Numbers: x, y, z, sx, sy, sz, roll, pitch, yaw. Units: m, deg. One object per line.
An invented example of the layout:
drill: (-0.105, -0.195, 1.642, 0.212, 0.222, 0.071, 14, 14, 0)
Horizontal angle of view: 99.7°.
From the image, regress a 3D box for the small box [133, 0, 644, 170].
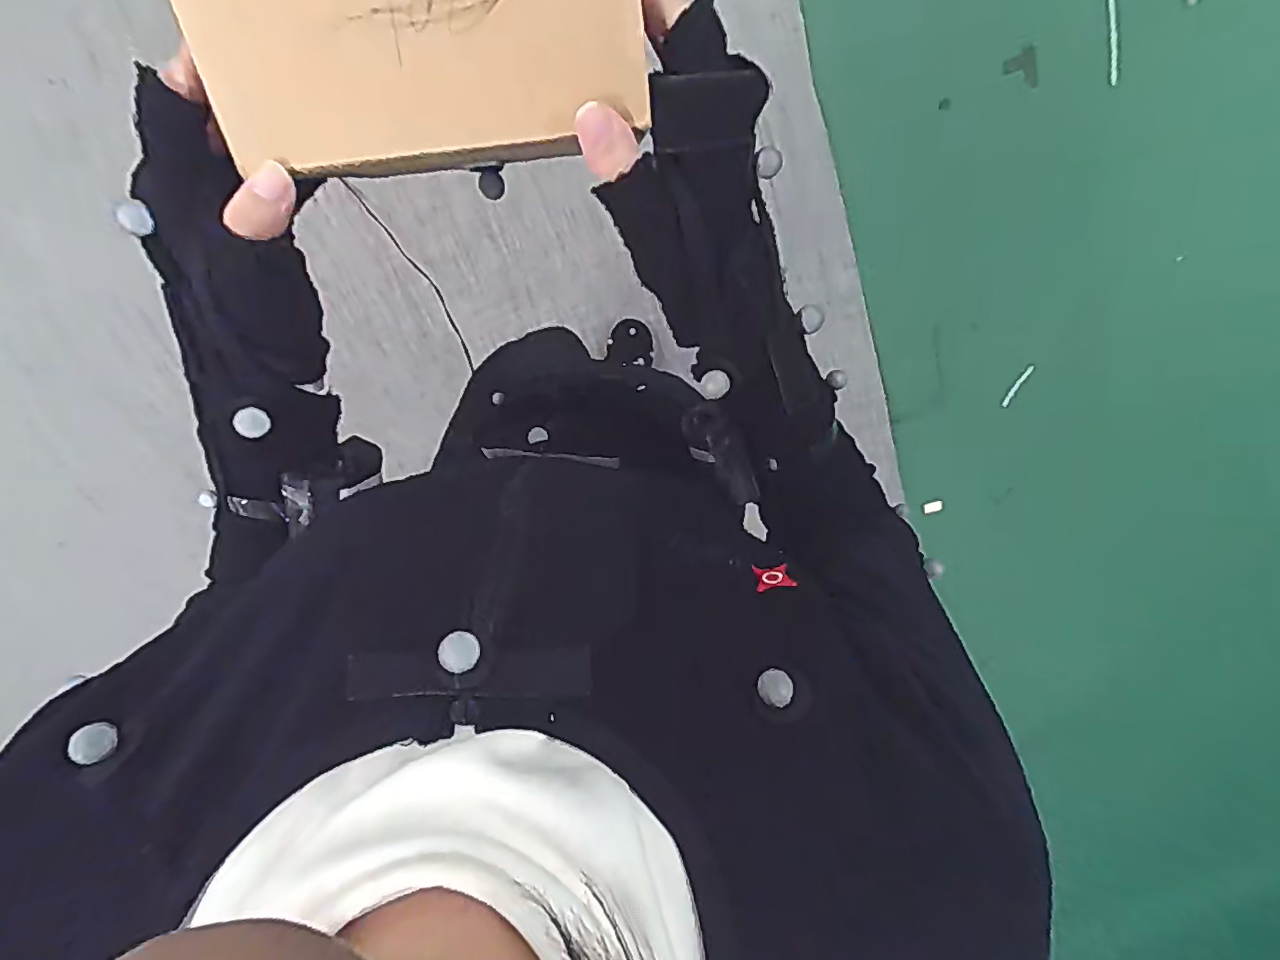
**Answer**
small box: (-0.091, -0.240, 0.226, 0.168, 0.176, 0.179, -7, 119, 2)
